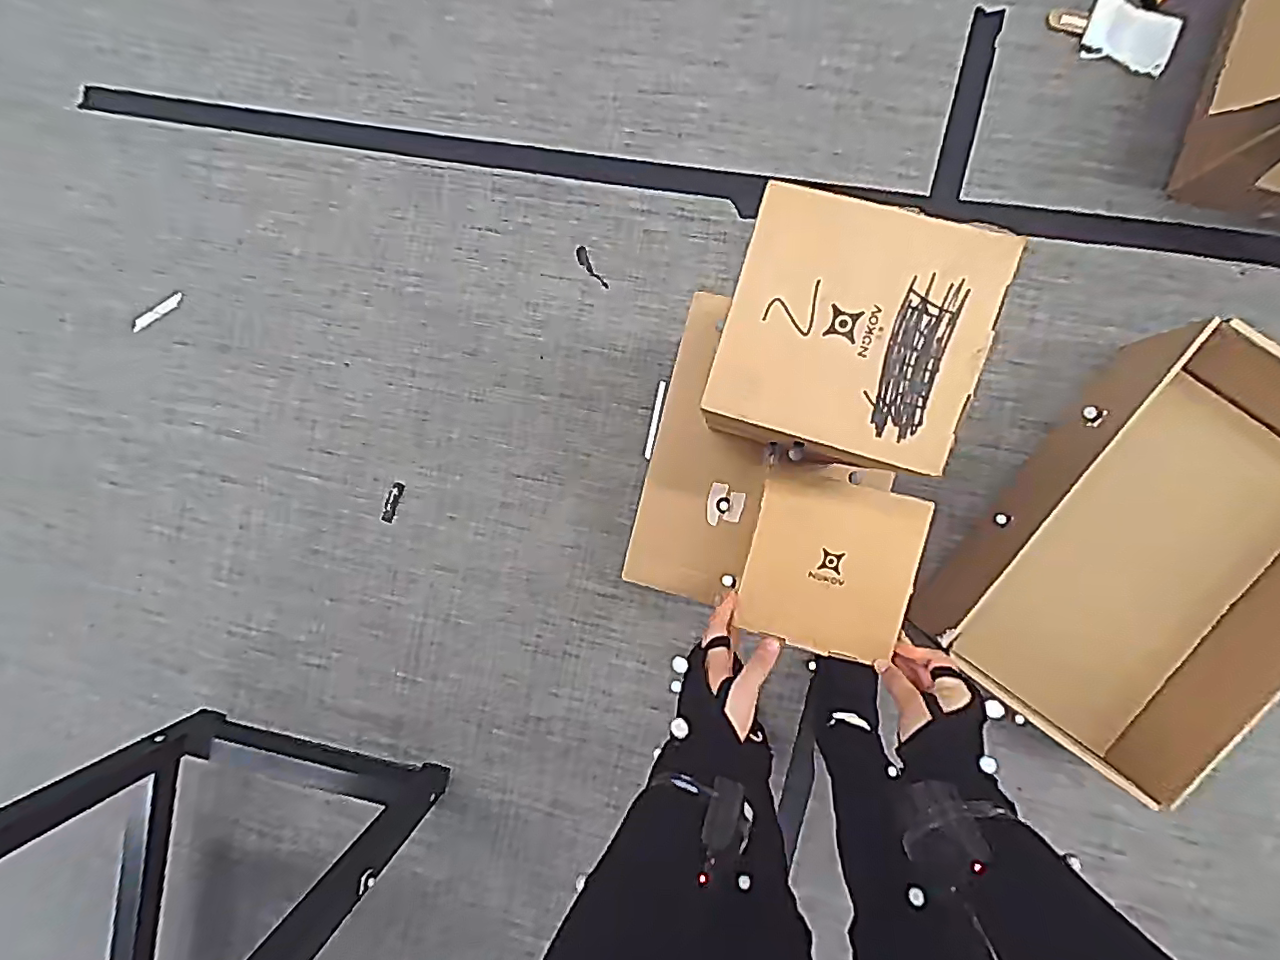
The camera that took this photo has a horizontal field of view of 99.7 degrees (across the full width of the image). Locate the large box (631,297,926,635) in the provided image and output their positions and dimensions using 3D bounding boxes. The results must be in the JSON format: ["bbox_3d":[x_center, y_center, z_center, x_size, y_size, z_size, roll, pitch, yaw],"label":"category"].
[{"bbox_3d":[0.194,-0.030,0.862,0.320,0.320,0.408,14,95,8],"label":"large box"}]

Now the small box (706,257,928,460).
[{"bbox_3d":[0.181,-0.124,0.611,0.179,0.176,0.168,17,96,6],"label":"small box"}]
